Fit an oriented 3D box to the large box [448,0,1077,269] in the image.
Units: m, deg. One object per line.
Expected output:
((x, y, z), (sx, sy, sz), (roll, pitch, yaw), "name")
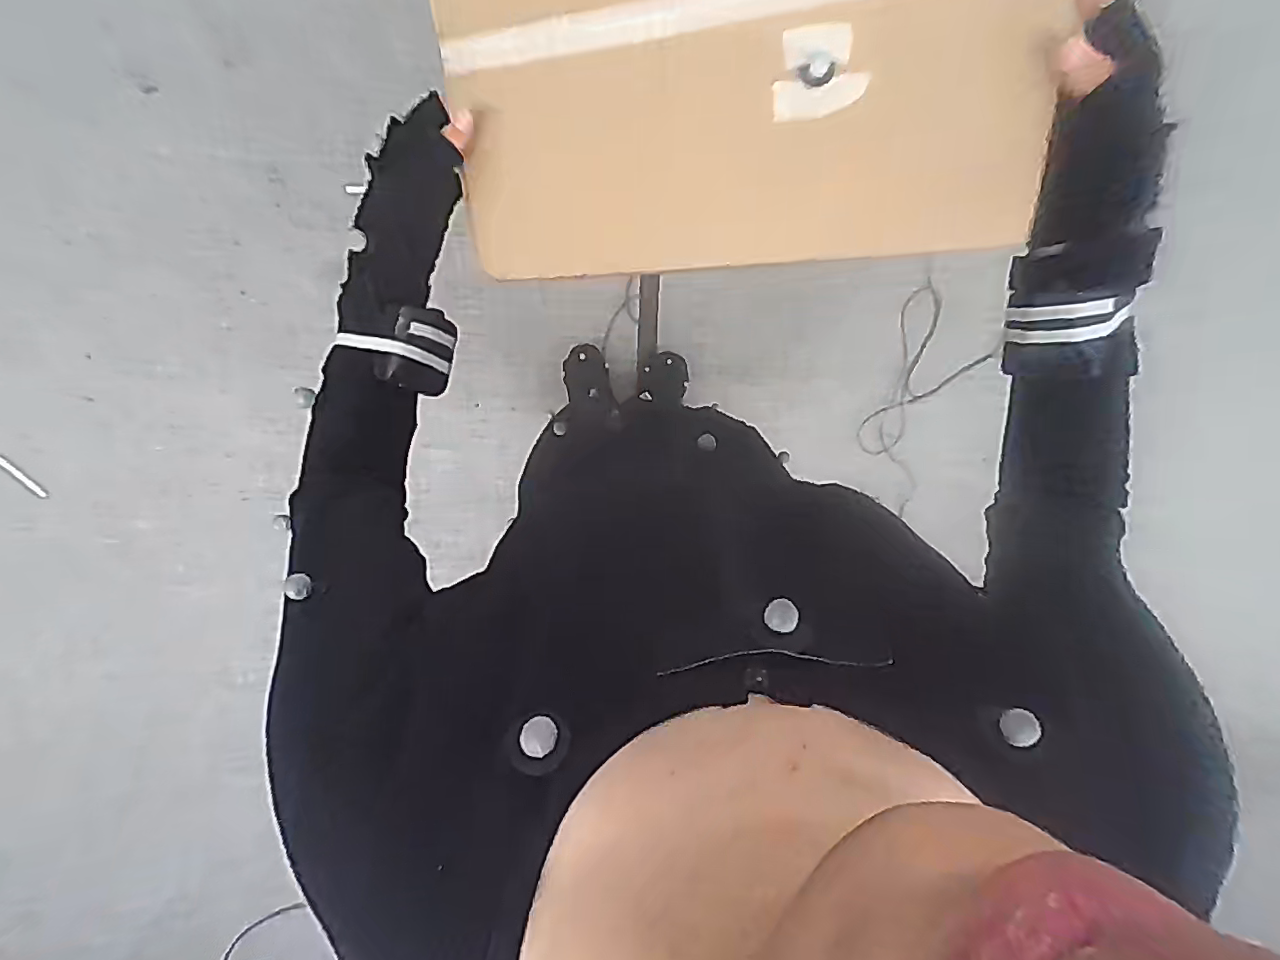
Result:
((0.089, -0.371, 0.477), (0.408, 0.320, 0.320), (1, 111, 14), "large box")
